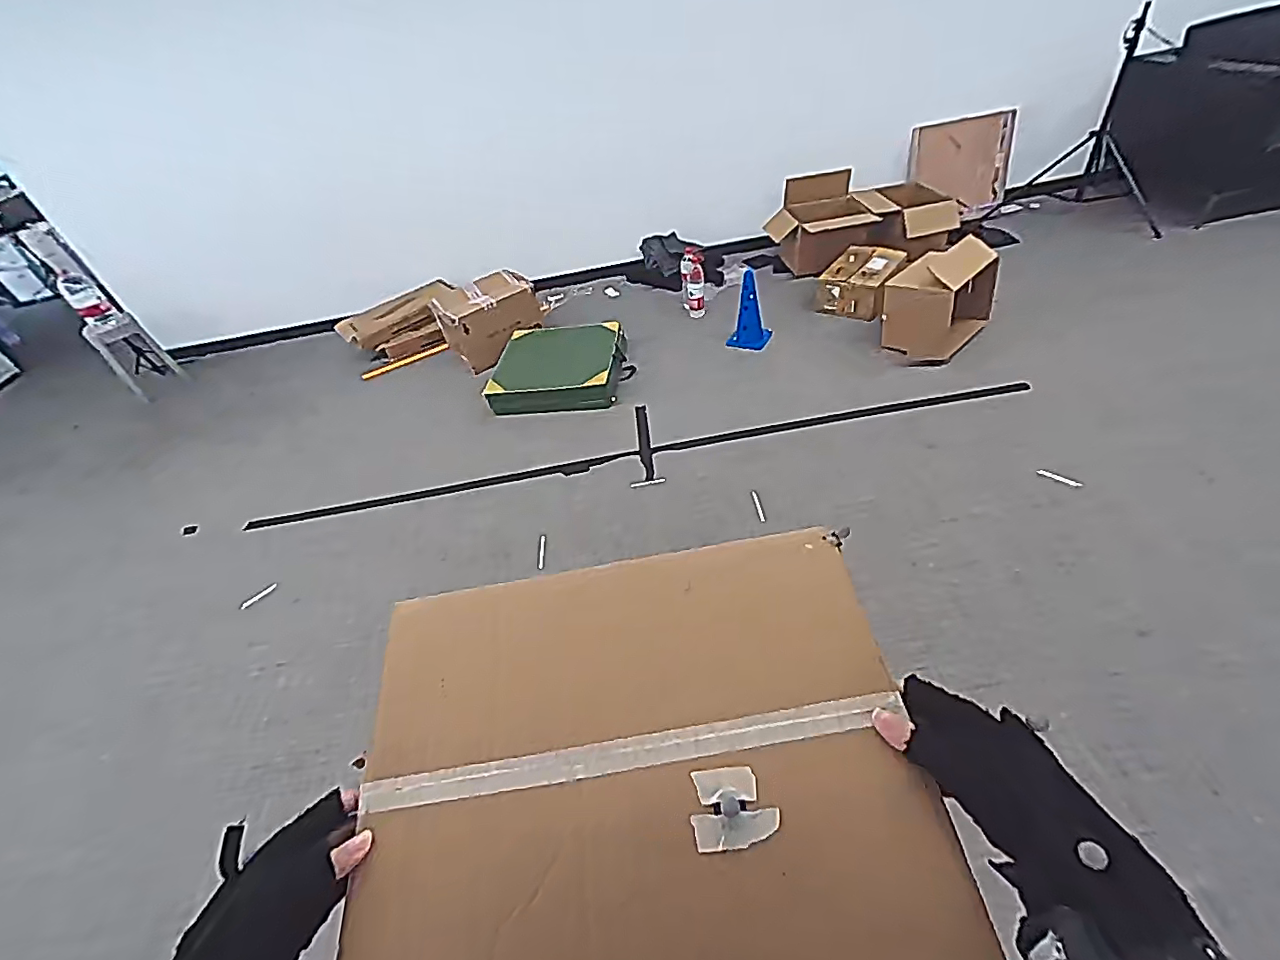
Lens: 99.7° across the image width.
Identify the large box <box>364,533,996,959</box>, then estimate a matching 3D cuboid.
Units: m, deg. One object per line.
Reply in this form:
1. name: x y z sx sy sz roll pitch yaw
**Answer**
1. large box: 0.016 0.293 0.529 0.408 0.320 0.320 -11 54 1
